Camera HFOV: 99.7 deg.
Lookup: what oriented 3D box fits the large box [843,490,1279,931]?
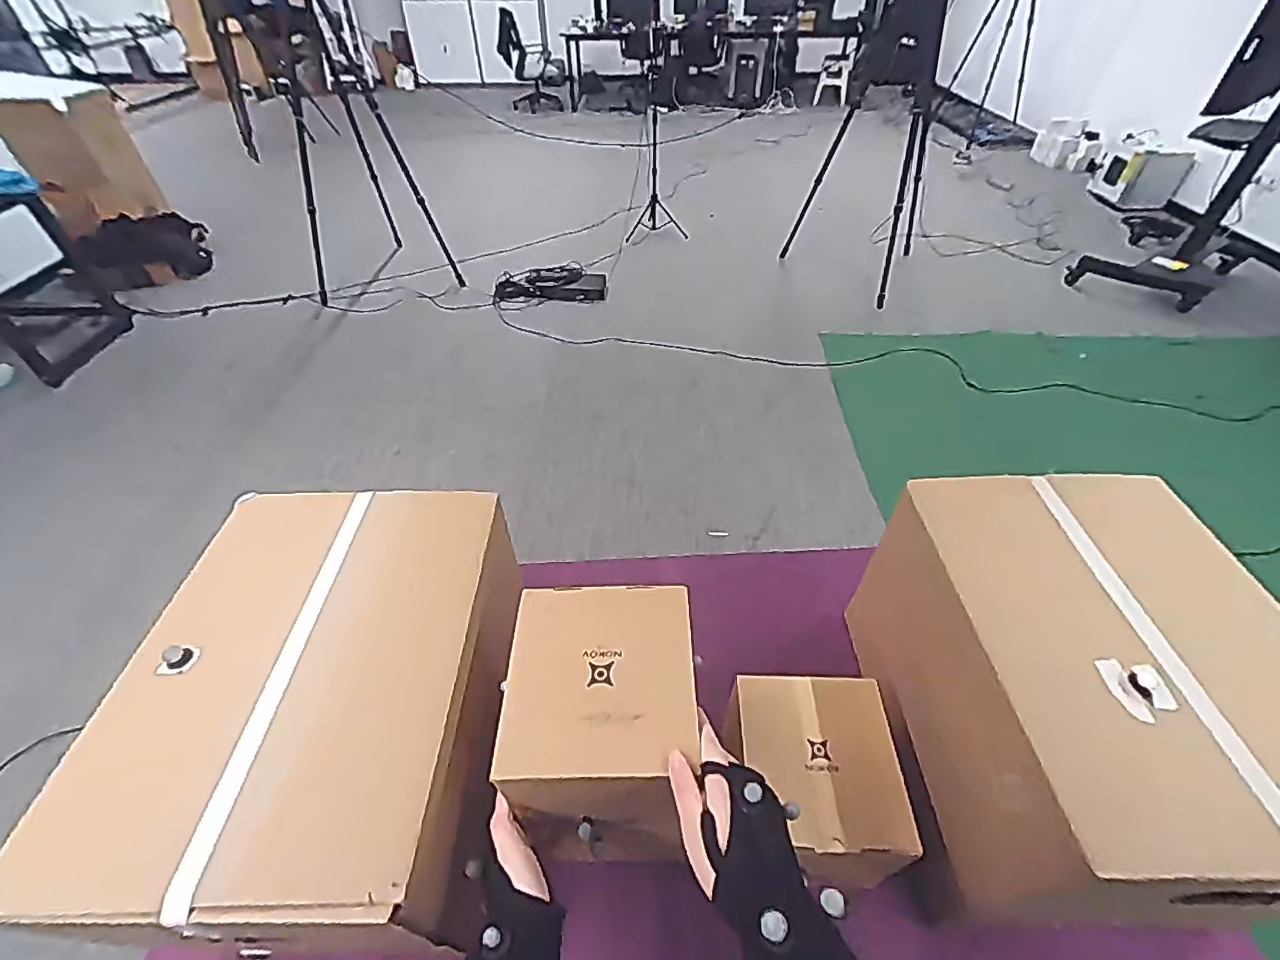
[{"bbox_3d":[0.482,0.260,0.642,0.320,0.320,0.408,0,45,1],"label":"large box"}]
